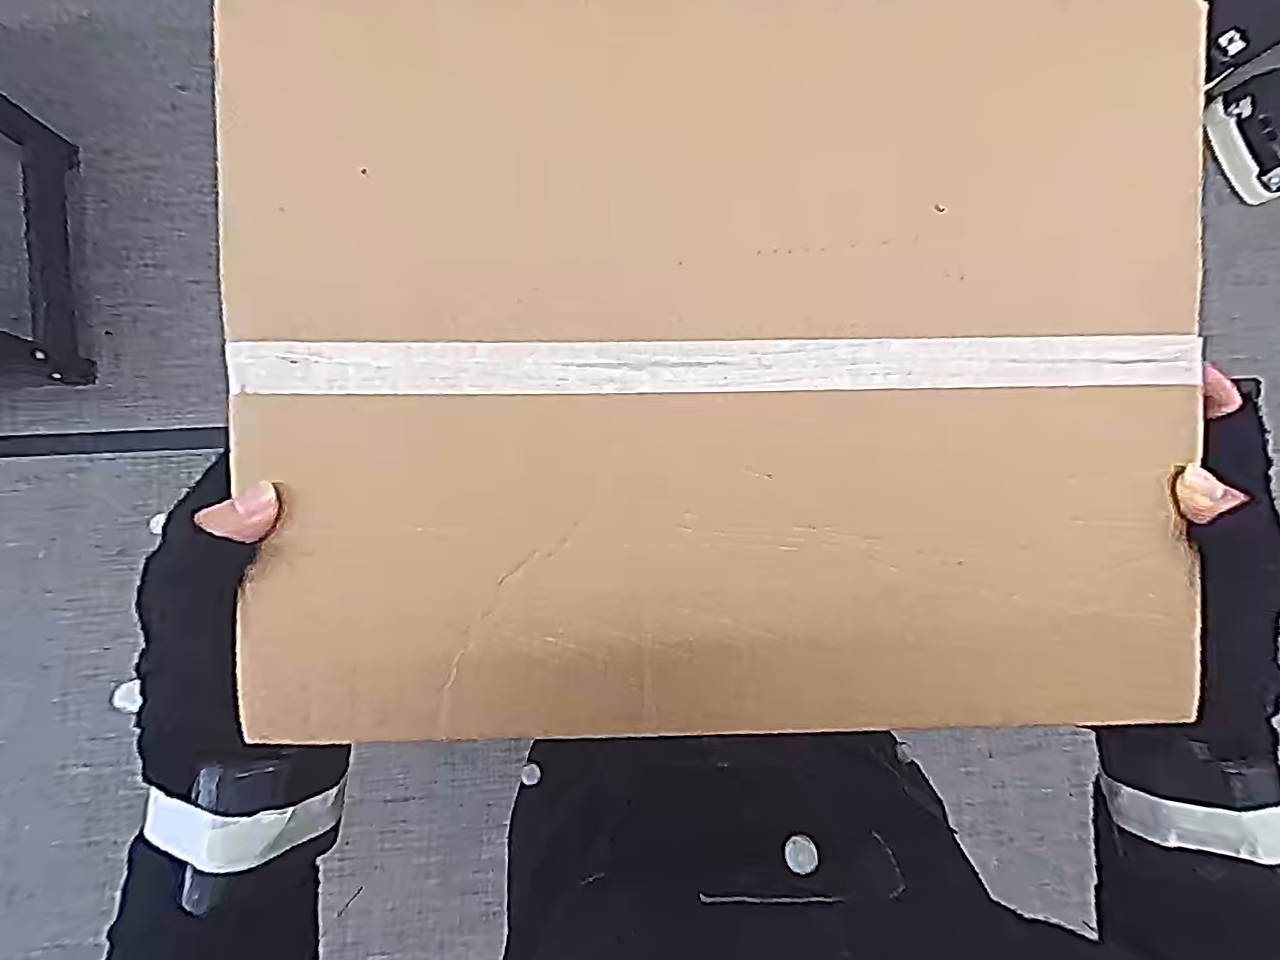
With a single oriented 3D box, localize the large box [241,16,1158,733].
[{"bbox_3d":[0.029,-0.052,0.388,0.408,0.320,0.320,-1,91,-2],"label":"large box"}]
